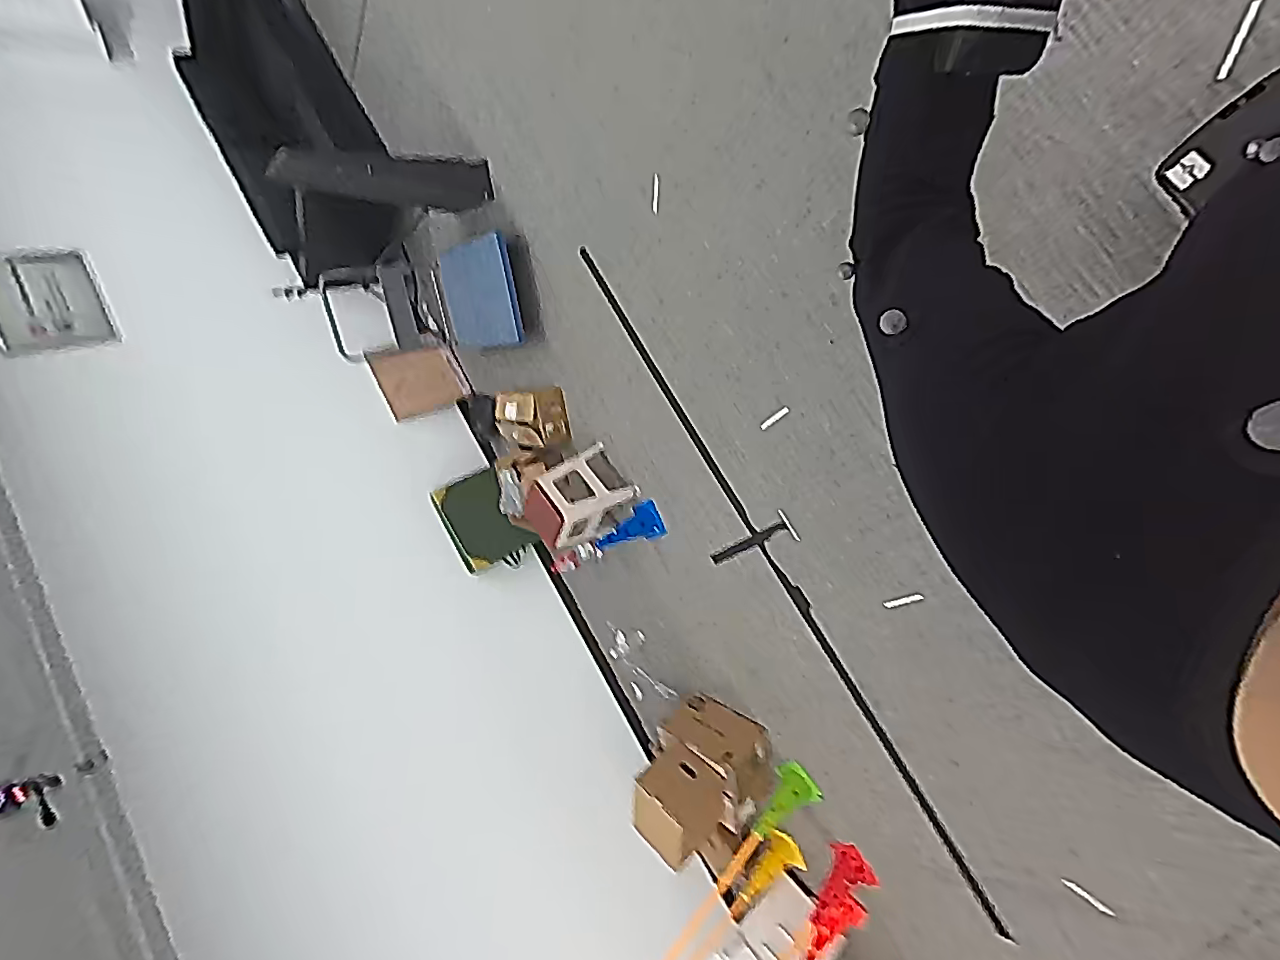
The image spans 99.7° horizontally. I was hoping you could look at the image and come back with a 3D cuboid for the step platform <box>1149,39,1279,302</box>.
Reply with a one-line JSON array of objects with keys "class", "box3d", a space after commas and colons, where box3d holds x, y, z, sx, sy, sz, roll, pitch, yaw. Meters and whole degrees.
[{"class": "step platform", "box3d": [1.242, -0.441, 0.915, 0.684, 0.204, 0.286, 59, 143, 12]}]
